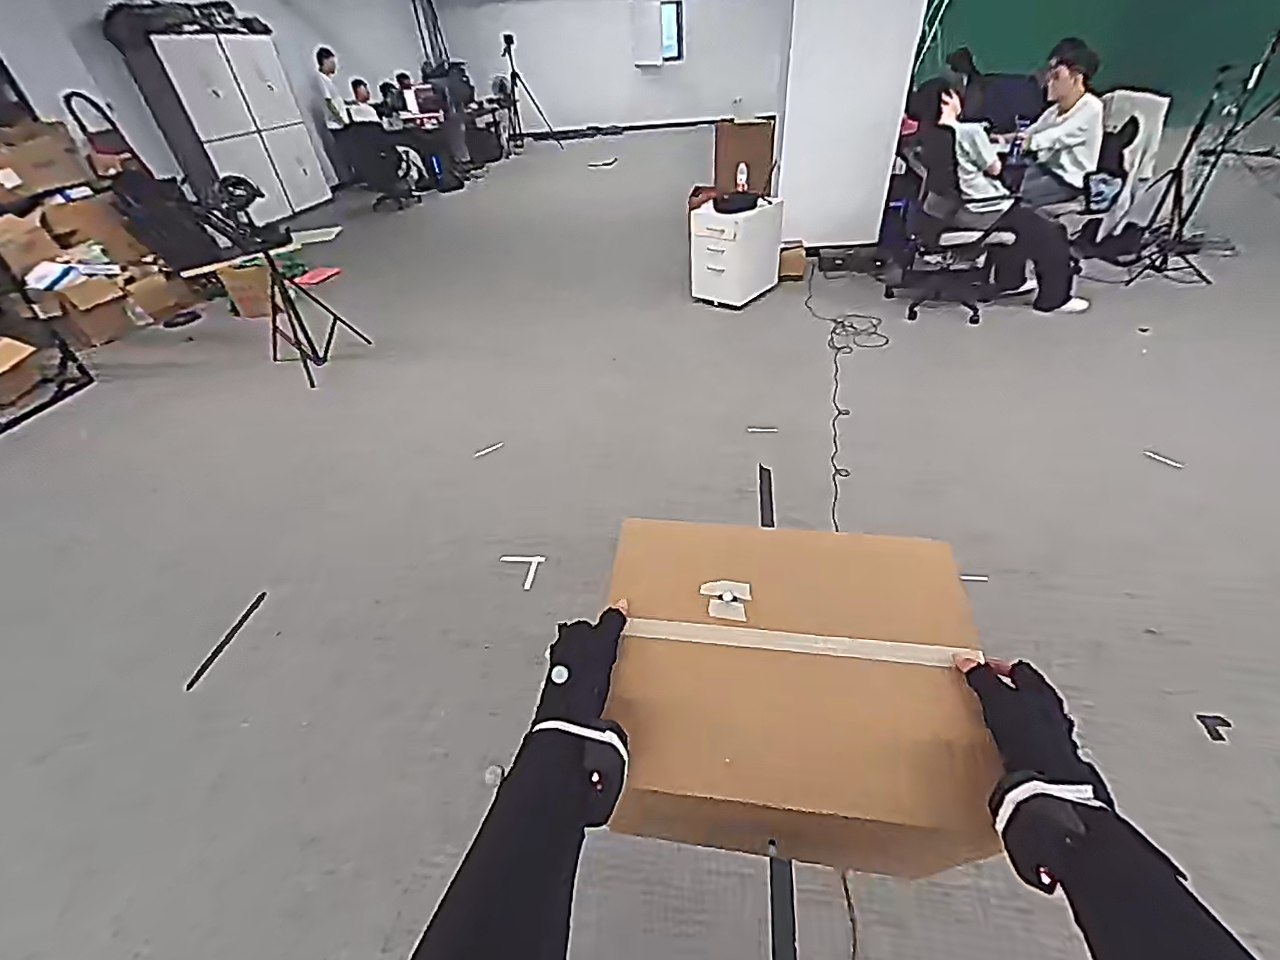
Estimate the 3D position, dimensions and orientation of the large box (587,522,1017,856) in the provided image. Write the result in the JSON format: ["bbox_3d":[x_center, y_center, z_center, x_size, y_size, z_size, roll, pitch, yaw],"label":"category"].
[{"bbox_3d":[0.173,0.276,0.715,0.408,0.320,0.320,3,49,8],"label":"large box"}]
